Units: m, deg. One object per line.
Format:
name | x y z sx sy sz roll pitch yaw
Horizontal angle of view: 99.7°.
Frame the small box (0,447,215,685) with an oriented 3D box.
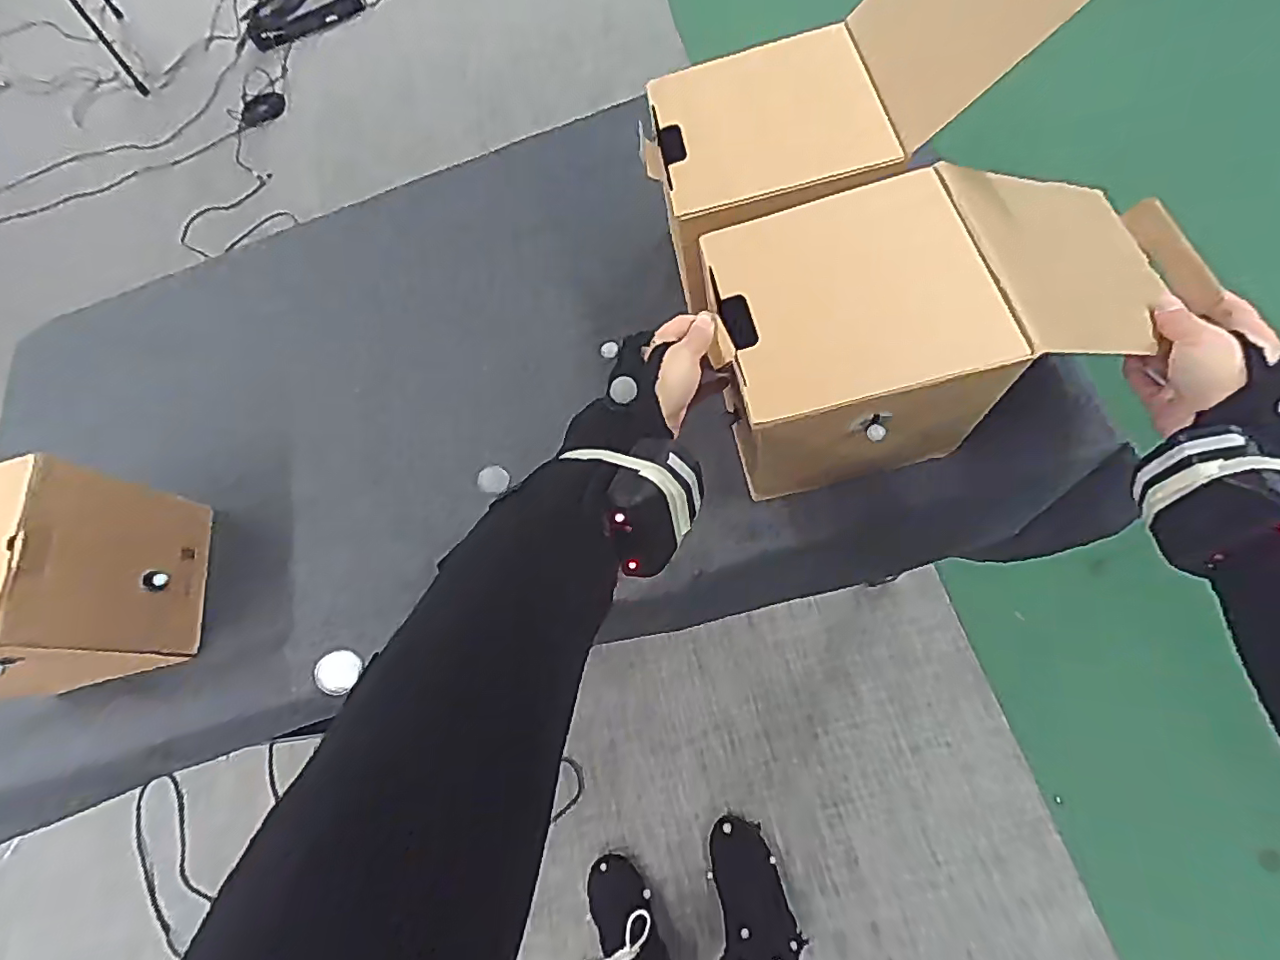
small box | -0.564 0.094 0.516 0.179 0.176 0.168 -15 67 5
